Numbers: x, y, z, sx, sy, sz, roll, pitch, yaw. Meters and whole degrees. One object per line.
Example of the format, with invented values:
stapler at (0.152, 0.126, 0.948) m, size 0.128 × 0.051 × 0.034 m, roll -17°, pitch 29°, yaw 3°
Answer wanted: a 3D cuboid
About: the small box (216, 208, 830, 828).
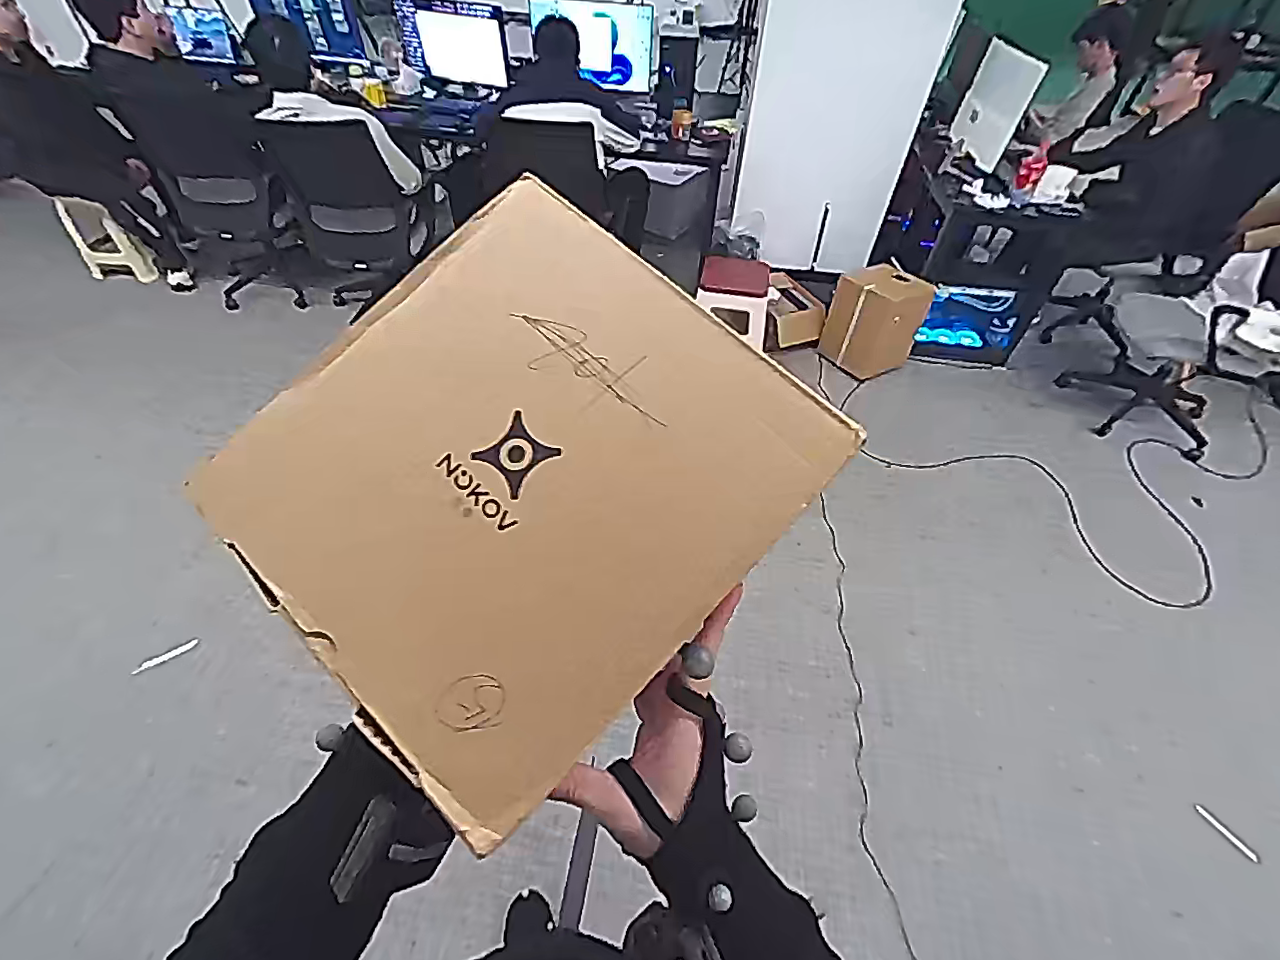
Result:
small box at (-0.040, 0.019, 0.275) m, size 0.168 × 0.176 × 0.179 m, roll 42°, pitch 81°, yaw 13°
